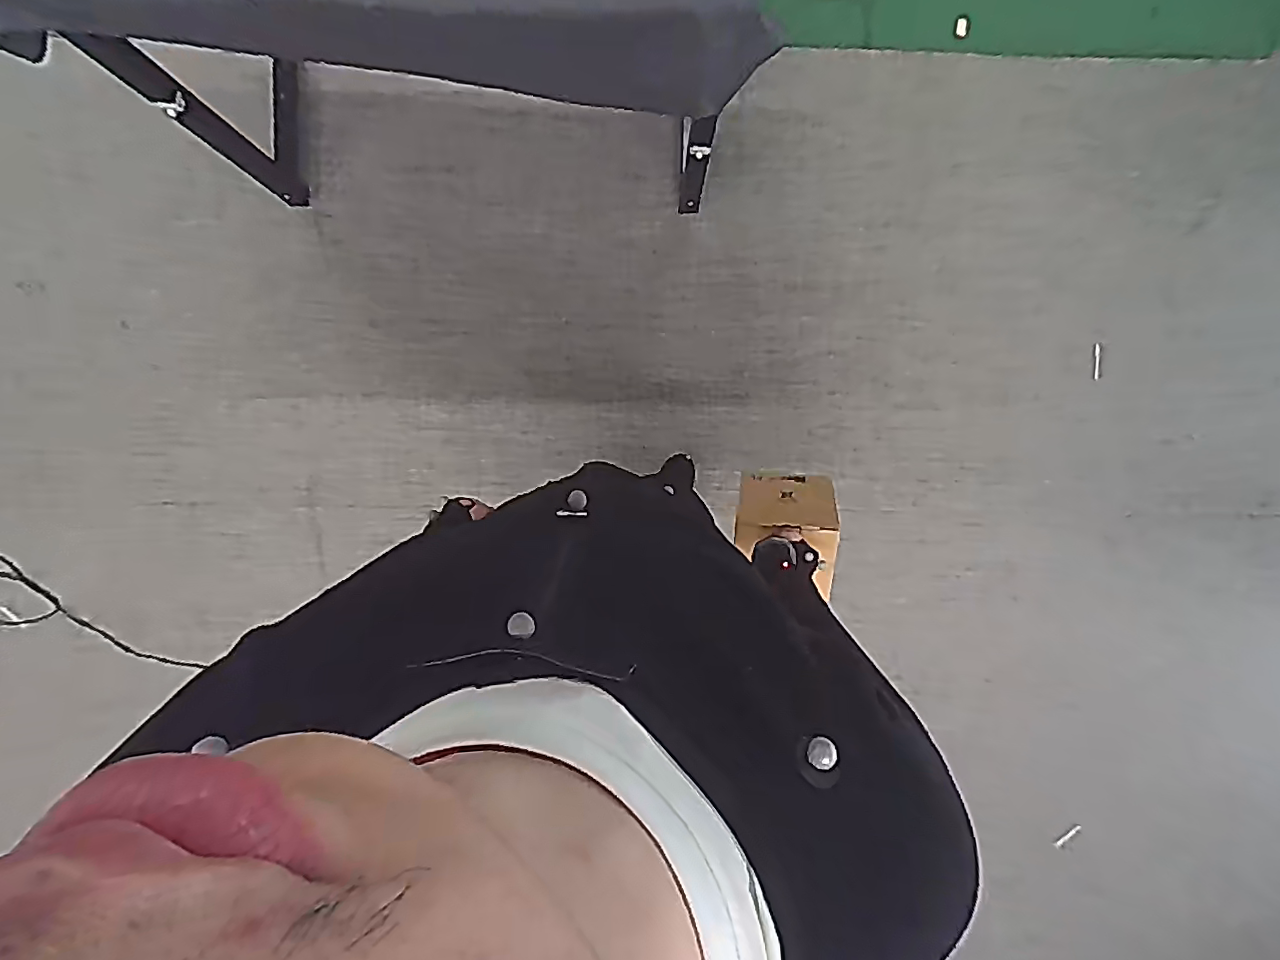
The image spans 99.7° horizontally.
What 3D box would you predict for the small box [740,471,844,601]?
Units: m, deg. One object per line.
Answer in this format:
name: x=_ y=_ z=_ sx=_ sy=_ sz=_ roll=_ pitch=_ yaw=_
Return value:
small box: x=0.269 y=0.100 z=0.983 sx=0.168 sy=0.179 sz=0.176 roll=2 pitch=123 yaw=11
